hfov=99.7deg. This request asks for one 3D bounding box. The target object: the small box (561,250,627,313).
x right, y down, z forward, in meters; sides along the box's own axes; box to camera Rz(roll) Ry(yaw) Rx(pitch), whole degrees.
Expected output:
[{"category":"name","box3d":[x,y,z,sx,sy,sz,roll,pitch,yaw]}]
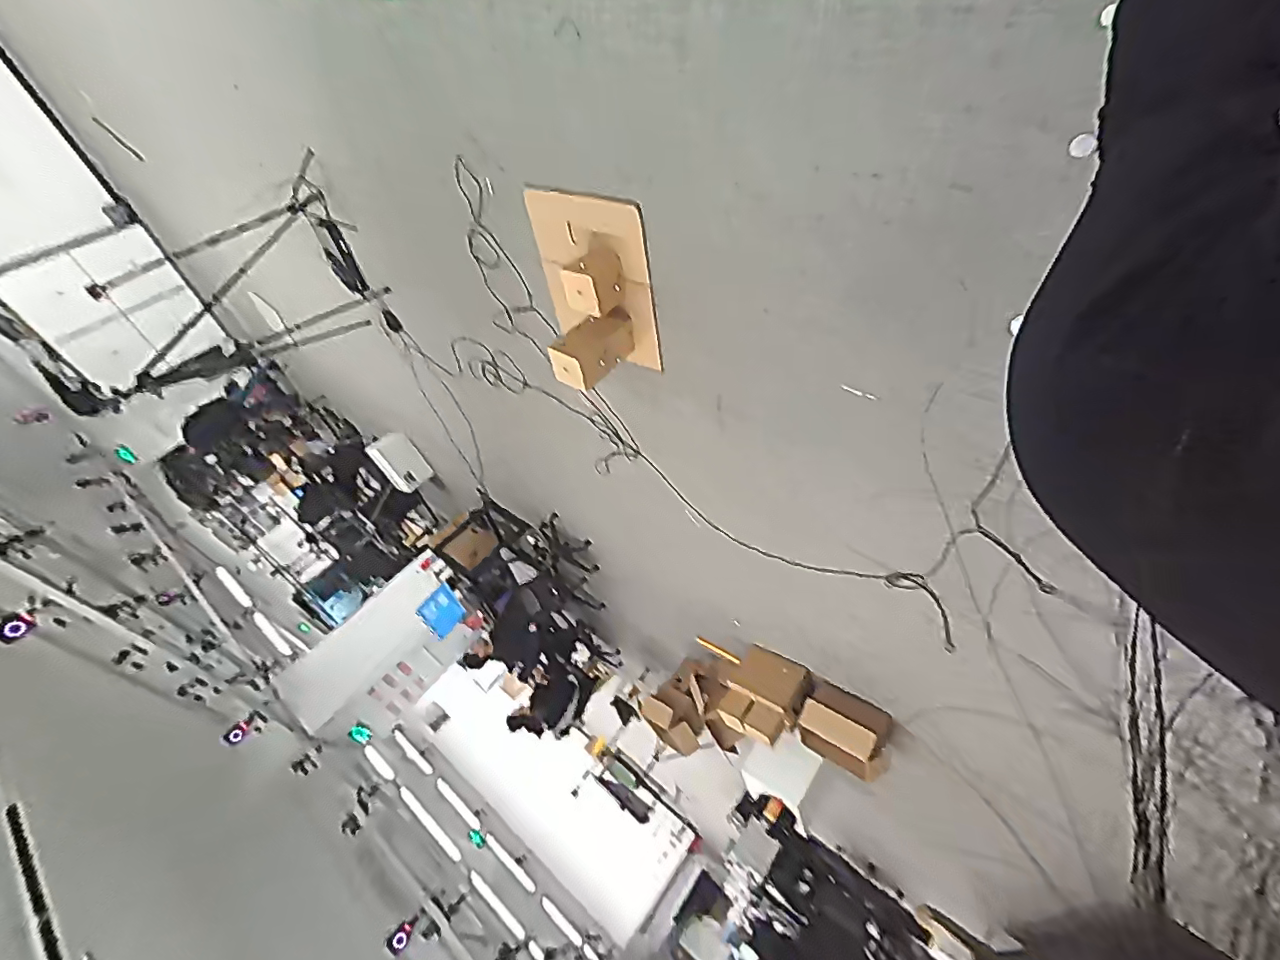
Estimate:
[{"category":"small box","box3d":[-0.175,-0.780,2.113,0.179,0.176,0.168,24,146,31]}]

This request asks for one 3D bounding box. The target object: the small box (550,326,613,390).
[{"category":"small box","box3d":[-0.236,-0.505,2.211,0.179,0.176,0.168,28,149,28]}]
